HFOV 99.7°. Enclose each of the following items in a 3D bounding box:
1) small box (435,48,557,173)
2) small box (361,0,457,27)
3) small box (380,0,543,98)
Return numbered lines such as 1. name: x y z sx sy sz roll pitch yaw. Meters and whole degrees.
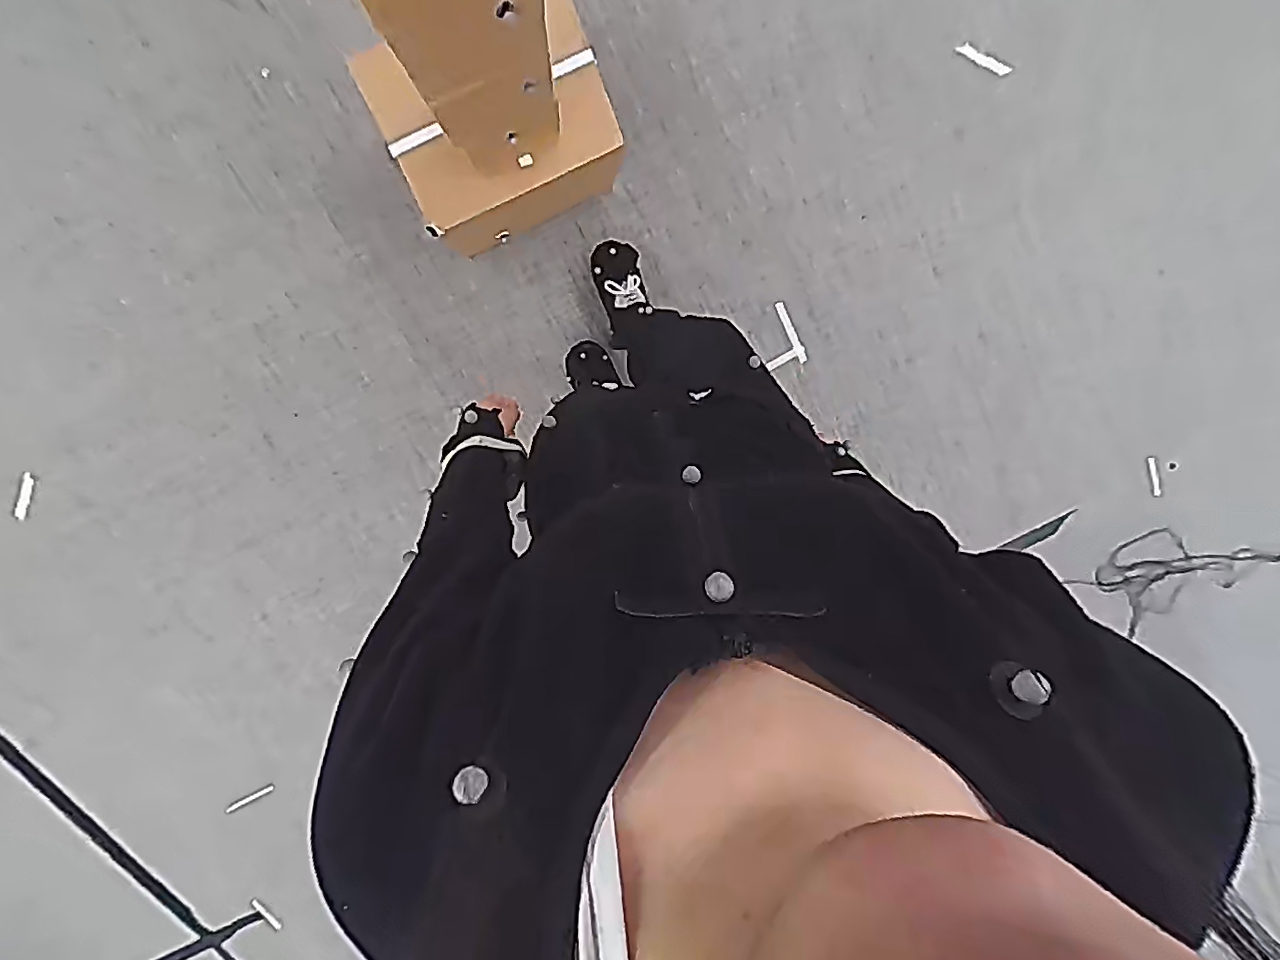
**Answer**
1. small box: -0.250 -0.651 0.909 0.179 0.176 0.168 -28 107 0
2. small box: -0.198 -0.527 0.437 0.179 0.176 0.168 -24 107 0
3. small box: -0.215 -0.568 0.593 0.179 0.176 0.168 -24 106 0
